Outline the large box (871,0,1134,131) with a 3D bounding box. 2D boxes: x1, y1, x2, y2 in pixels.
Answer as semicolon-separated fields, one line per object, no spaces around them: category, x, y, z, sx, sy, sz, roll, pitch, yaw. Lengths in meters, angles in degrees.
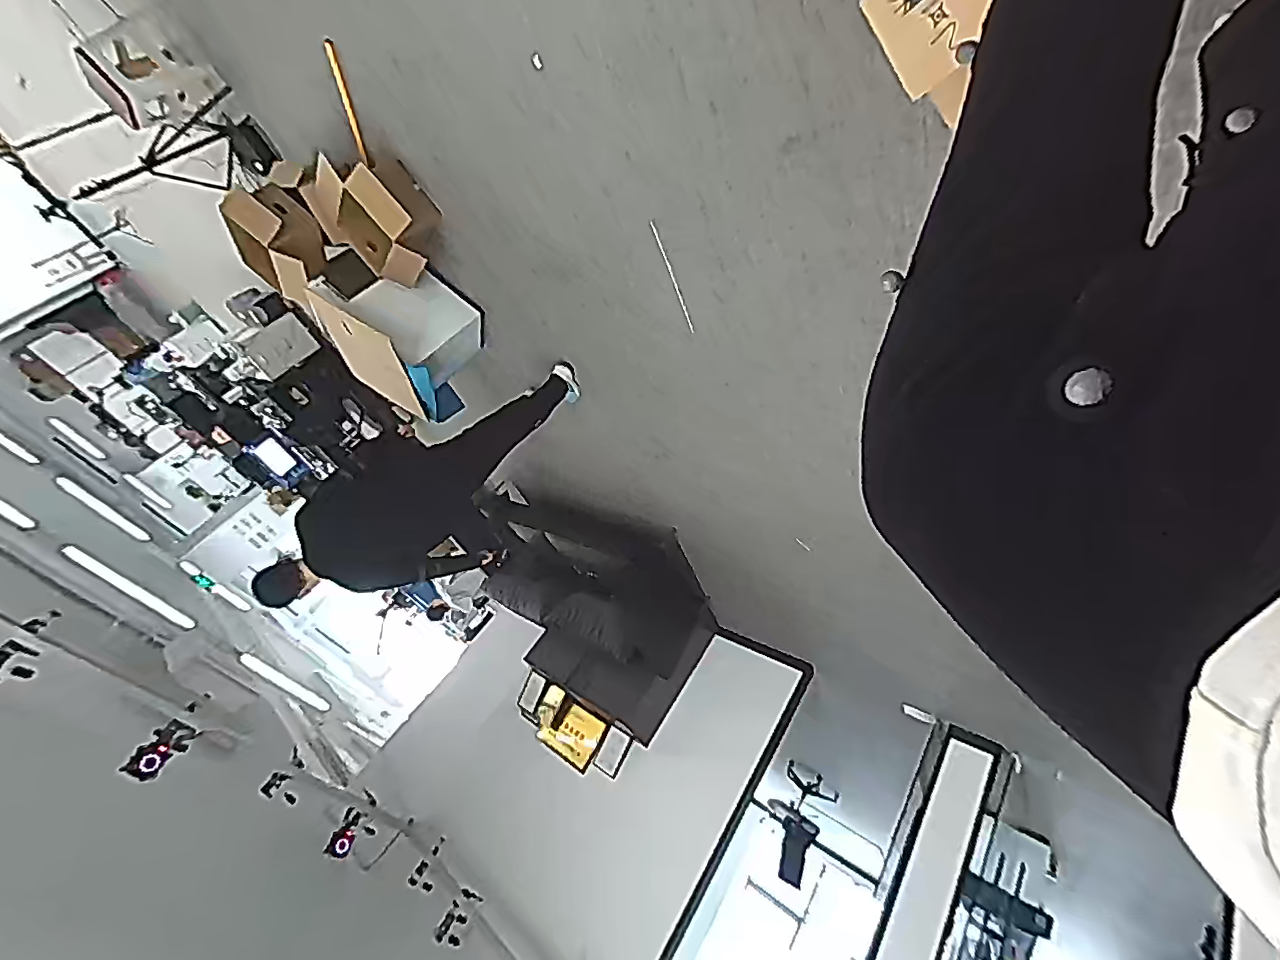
large box;0.681;-0.907;0.899;0.320;0.320;0.408;46;151;-13
